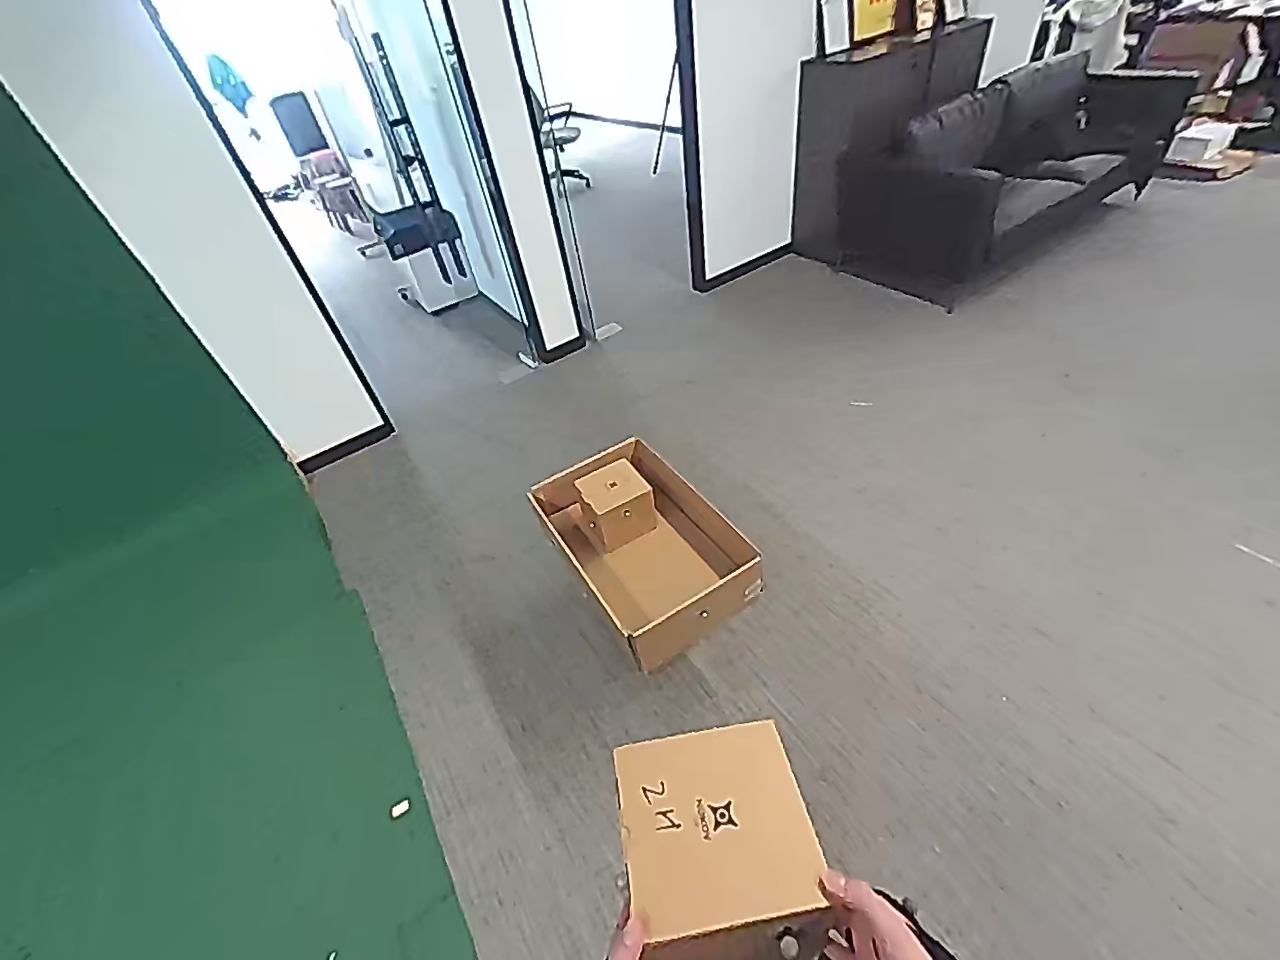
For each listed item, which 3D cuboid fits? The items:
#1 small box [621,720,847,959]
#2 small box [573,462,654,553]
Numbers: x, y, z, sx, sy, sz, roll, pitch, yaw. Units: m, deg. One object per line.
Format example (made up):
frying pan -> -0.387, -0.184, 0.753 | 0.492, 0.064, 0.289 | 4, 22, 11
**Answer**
small box -> 0.080, 0.377, 0.549 | 0.179, 0.176, 0.168 | -8, 35, -5
small box -> -0.073, 0.084, 1.586 | 0.179, 0.176, 0.168 | -24, 45, -17
